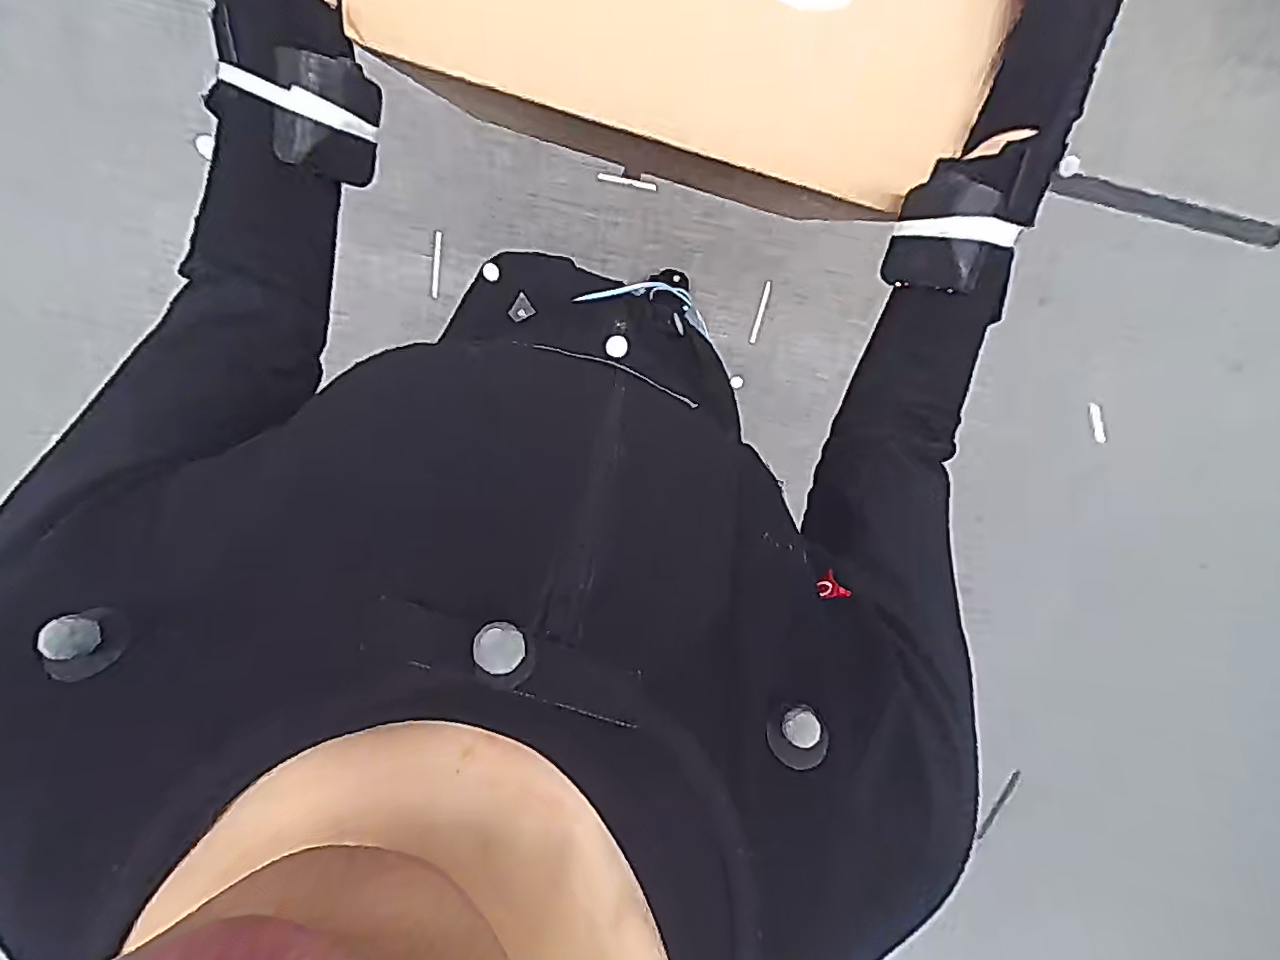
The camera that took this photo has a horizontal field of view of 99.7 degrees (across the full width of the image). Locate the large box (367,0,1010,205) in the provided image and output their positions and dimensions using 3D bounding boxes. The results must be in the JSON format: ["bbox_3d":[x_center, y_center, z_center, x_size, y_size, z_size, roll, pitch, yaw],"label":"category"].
[{"bbox_3d":[0.045,-0.440,0.438,0.408,0.320,0.320,12,116,-9],"label":"large box"}]
